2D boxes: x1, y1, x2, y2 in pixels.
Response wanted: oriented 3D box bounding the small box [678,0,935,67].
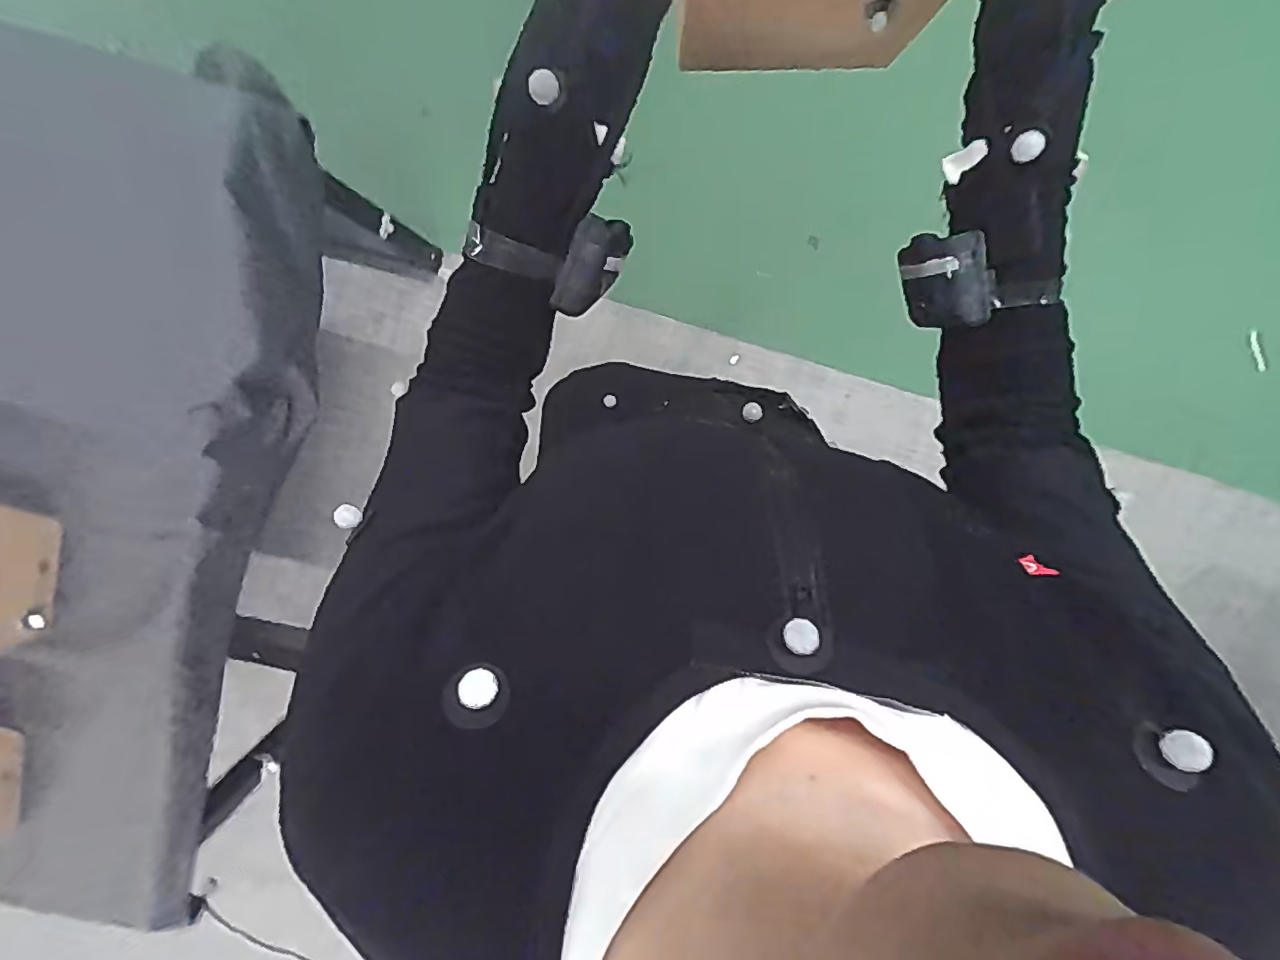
[{"bbox_3d":[0.118,-0.400,0.347,0.179,0.176,0.168,0,103,2],"label":"small box"}]
